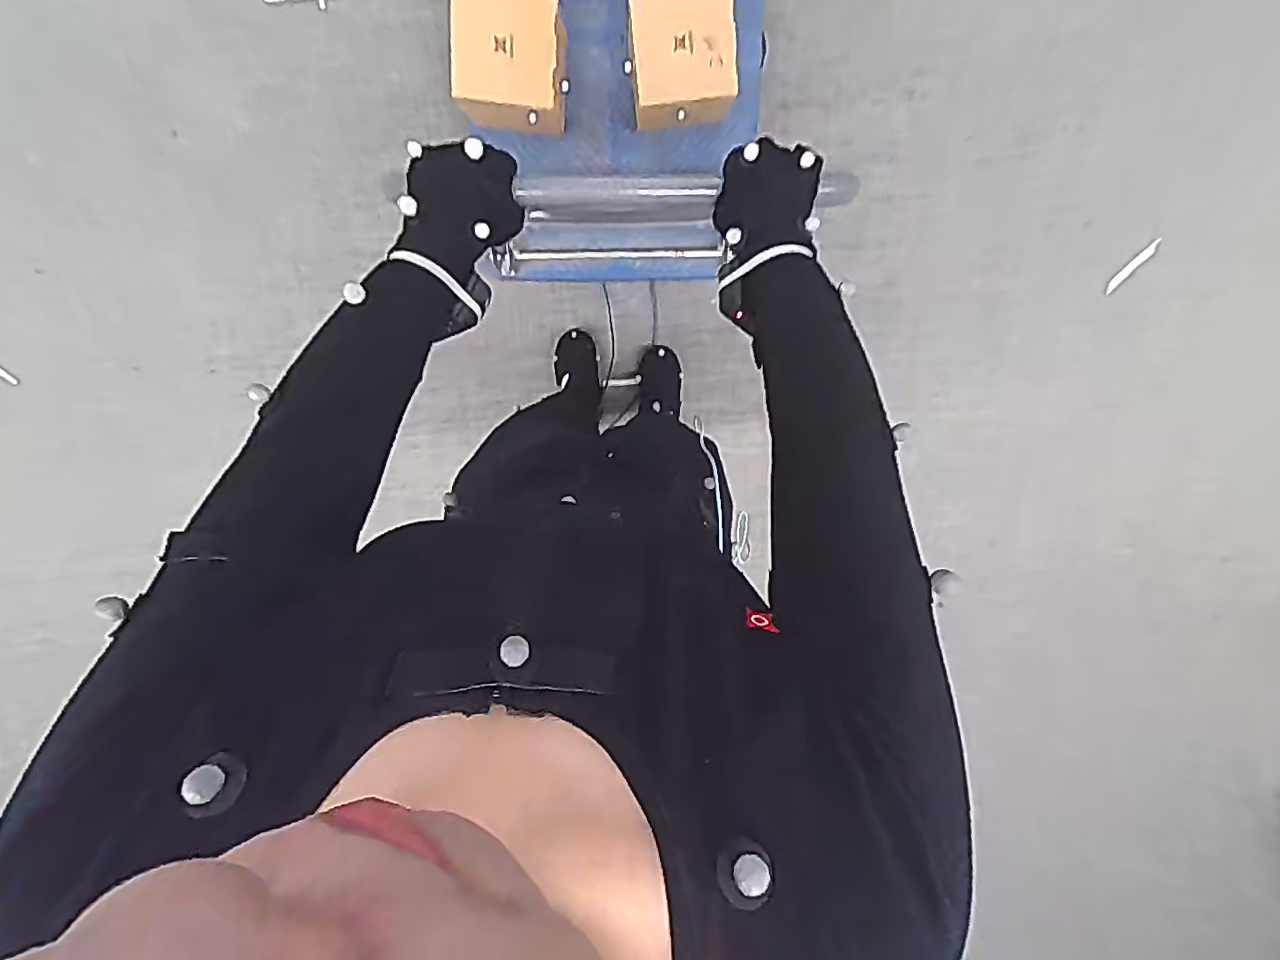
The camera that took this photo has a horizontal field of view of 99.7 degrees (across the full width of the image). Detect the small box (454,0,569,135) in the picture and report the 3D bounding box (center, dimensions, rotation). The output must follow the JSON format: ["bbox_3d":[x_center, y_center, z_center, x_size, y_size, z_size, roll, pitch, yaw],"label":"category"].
[{"bbox_3d":[-0.228,-0.754,0.990,0.179,0.176,0.168,4,108,-5],"label":"small box"}]

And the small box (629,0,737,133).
[{"bbox_3d":[0.076,-0.762,0.996,0.179,0.176,0.168,-6,109,0],"label":"small box"}]
